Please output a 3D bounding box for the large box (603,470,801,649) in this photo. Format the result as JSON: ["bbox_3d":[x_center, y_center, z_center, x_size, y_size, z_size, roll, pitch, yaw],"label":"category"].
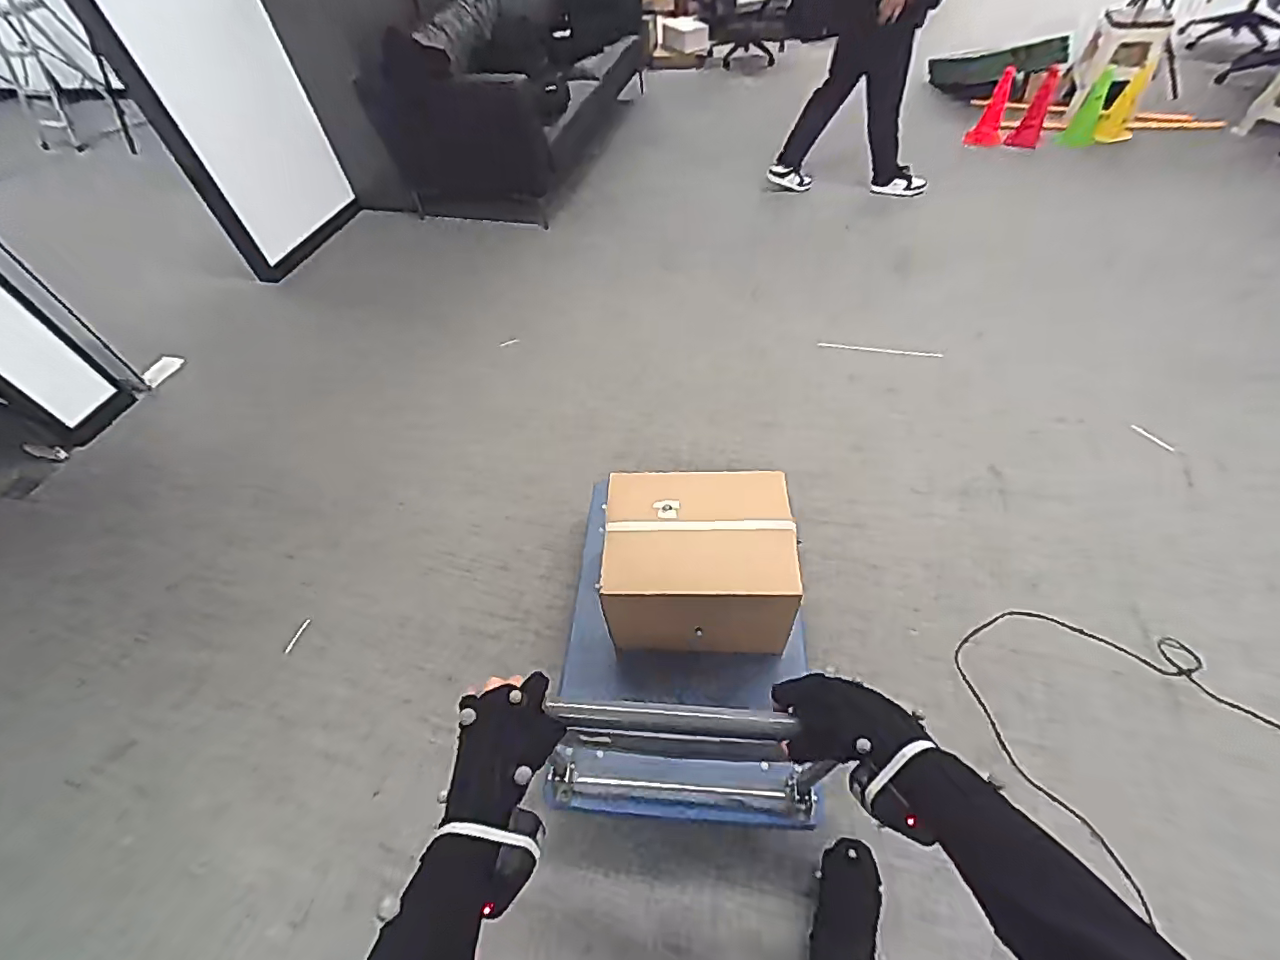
[{"bbox_3d":[0.139,0.199,1.291,0.408,0.320,0.320,-2,51,5],"label":"large box"}]
